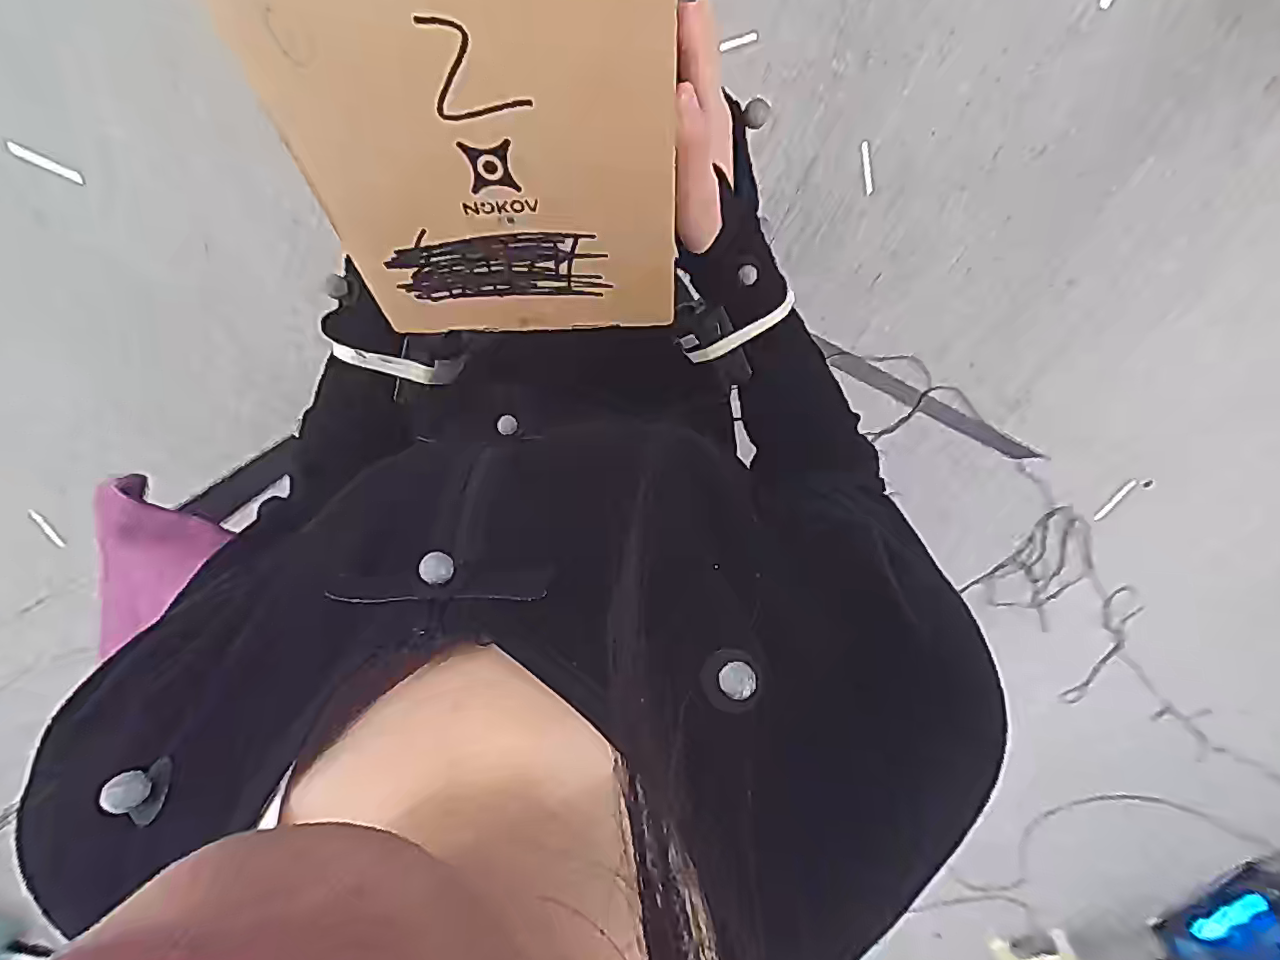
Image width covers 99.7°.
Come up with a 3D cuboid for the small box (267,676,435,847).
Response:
[{"bbox_3d":[-0.470,0.461,0.902,0.179,0.176,0.168,25,113,-10],"label":"small box"}]
